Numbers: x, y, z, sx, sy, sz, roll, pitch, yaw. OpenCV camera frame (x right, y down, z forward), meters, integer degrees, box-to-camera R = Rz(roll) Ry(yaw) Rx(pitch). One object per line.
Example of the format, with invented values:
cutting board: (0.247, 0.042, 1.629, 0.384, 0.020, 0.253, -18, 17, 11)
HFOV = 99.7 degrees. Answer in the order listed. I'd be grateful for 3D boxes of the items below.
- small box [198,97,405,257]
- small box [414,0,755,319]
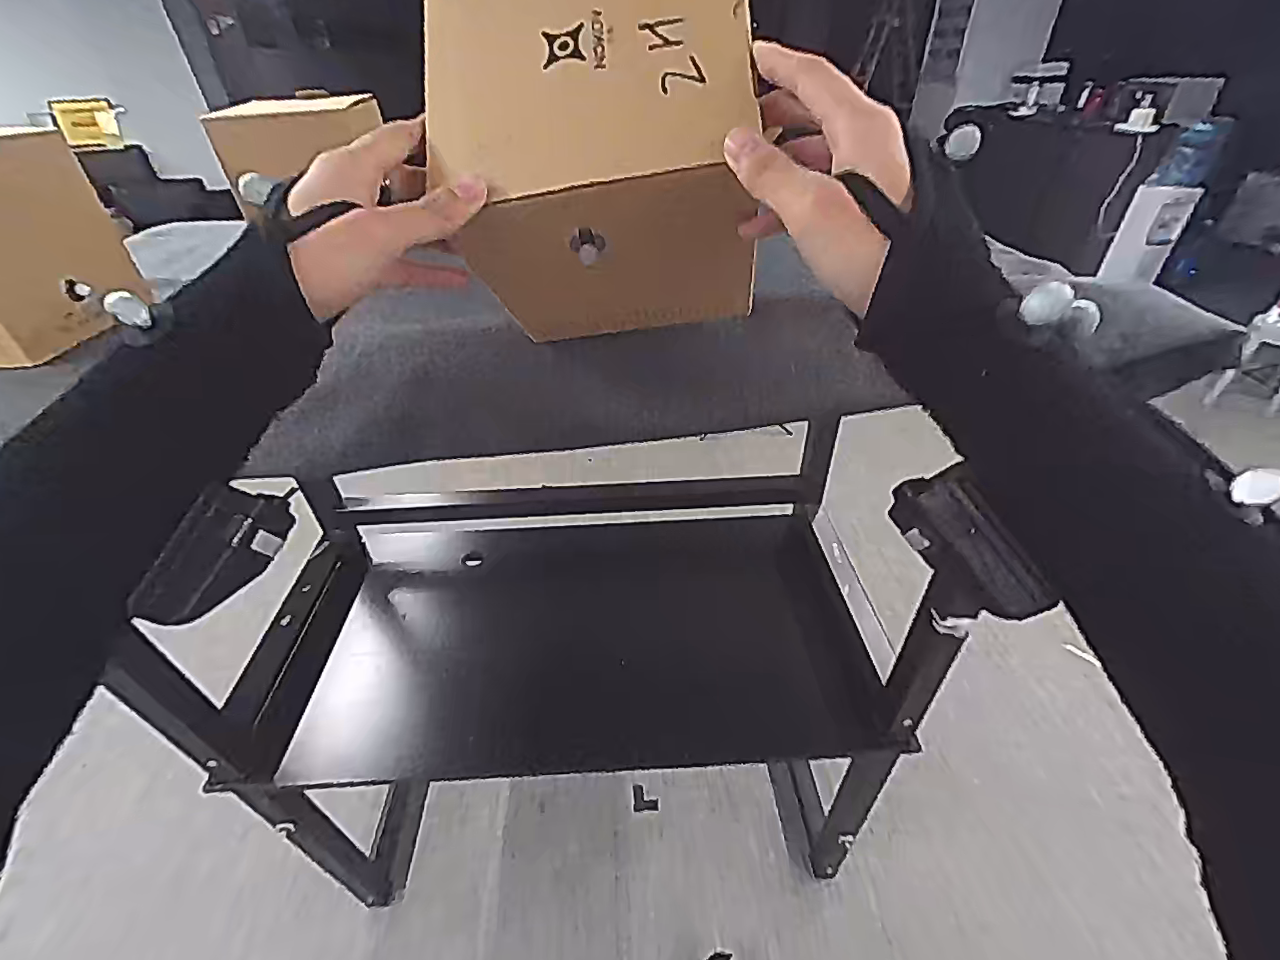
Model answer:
small box: (-0.439, -0.417, 0.742, 0.168, 0.176, 0.179, -9, 38, -6)
small box: (-0.022, -0.222, 0.356, 0.179, 0.176, 0.168, -5, 80, 8)
